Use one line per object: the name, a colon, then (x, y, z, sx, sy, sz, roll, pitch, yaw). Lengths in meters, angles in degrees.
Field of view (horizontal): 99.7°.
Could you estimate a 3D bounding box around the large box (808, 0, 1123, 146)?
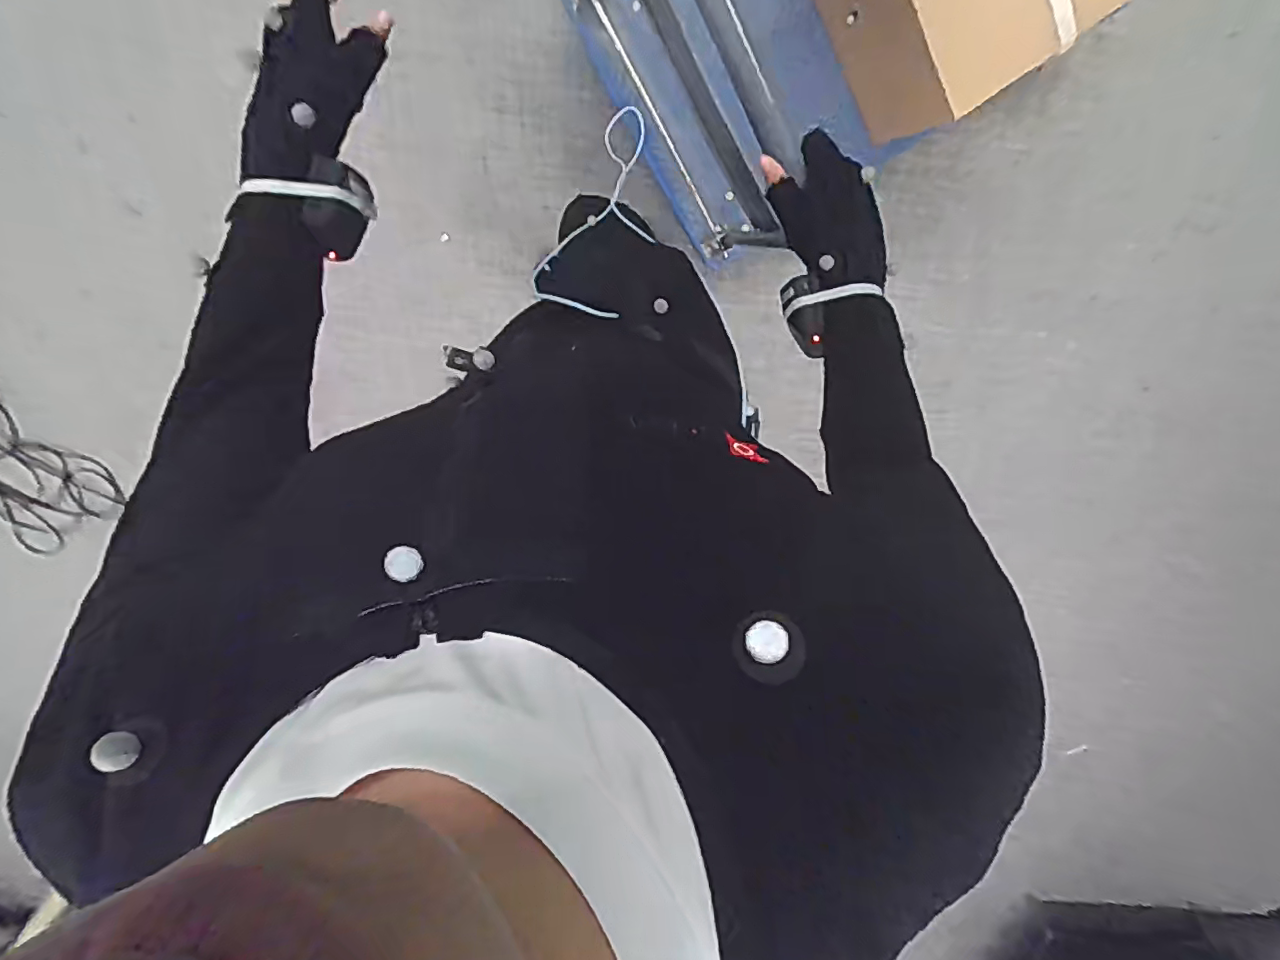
large box: (0.460, -0.802, 0.810, 0.320, 0.320, 0.408, -31, 111, 14)
